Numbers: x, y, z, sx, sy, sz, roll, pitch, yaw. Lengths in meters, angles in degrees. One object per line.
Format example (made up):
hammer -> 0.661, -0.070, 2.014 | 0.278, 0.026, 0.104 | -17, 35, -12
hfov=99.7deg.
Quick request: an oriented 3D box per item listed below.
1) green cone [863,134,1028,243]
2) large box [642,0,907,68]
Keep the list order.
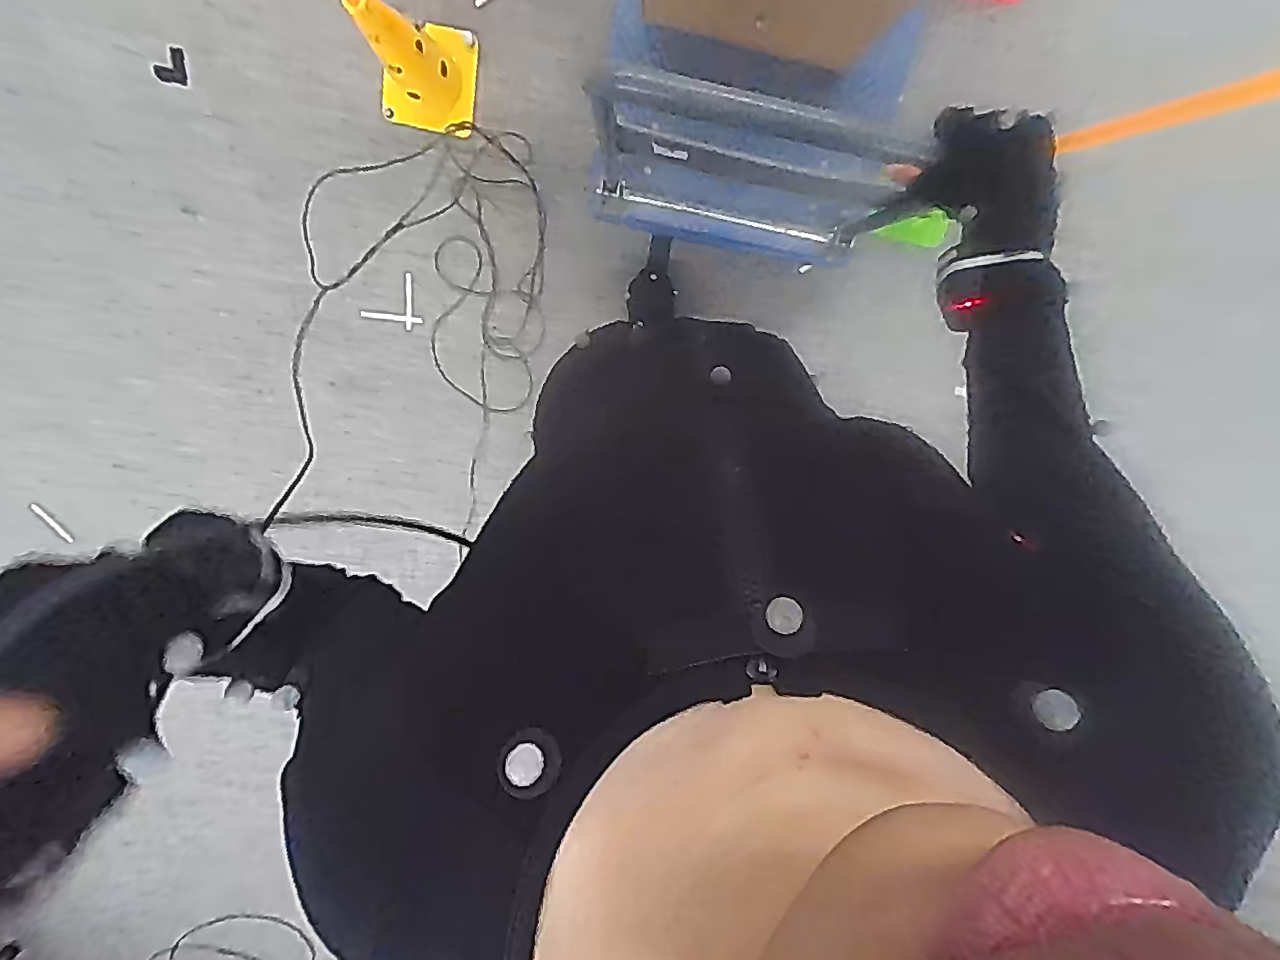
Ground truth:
green cone -> 0.645, -0.624, 1.107 | 0.202, 0.368, 0.200 | 11, 109, -5
large box -> 0.226, -0.917, 0.851 | 0.408, 0.320, 0.320 | 11, 110, -4
